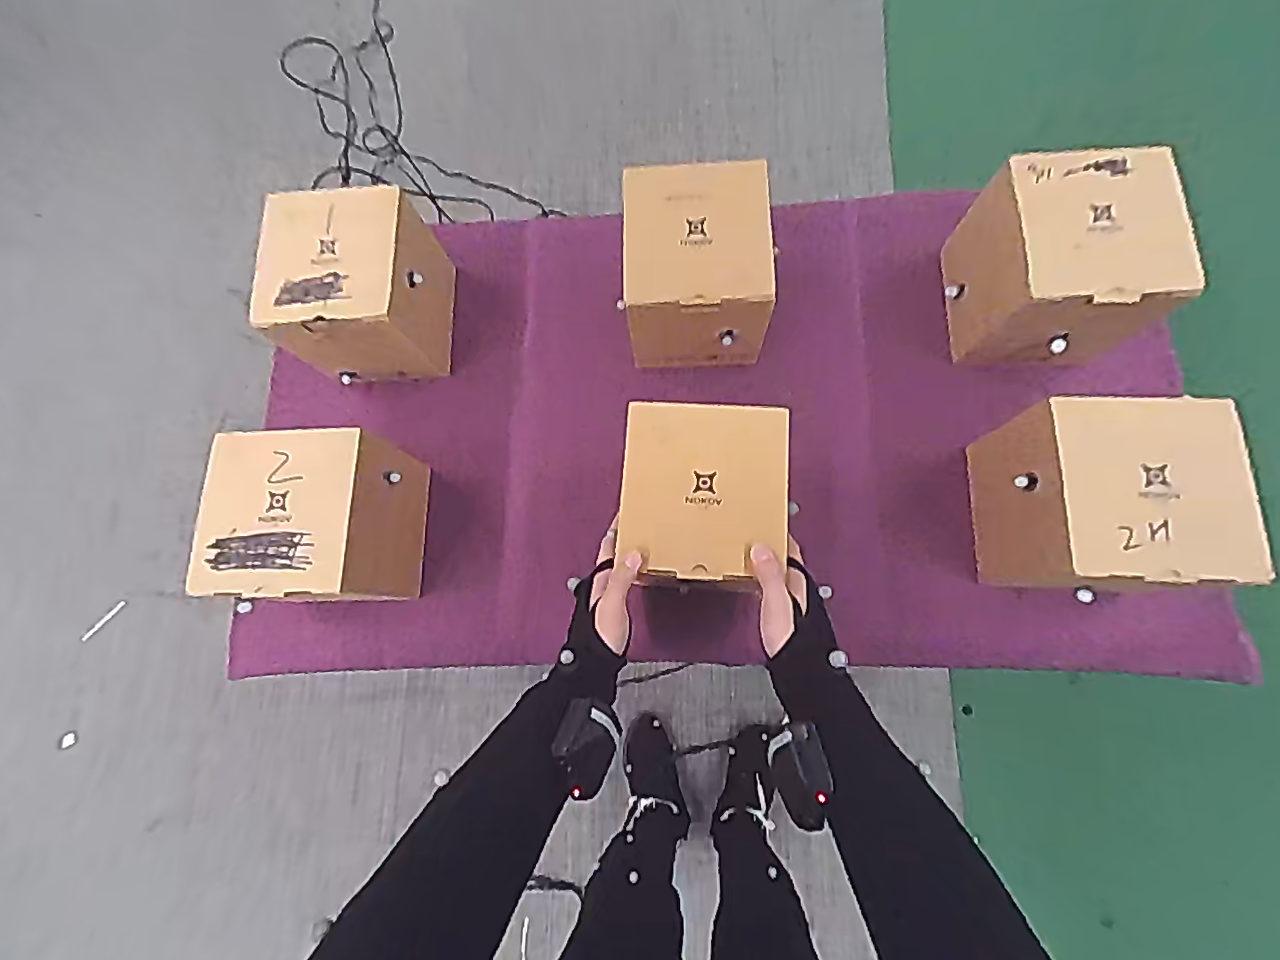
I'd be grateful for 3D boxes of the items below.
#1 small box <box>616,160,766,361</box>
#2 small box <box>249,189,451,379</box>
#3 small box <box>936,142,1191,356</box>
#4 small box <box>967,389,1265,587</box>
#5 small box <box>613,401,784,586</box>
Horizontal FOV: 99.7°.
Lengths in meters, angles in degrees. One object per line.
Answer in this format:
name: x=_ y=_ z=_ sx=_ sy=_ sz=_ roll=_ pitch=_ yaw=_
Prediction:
small box: x=0.062 y=-0.258 z=0.677 sx=0.168 sy=0.176 sz=0.179 roll=-2 pitch=77 yaw=4
small box: x=-0.361 y=-0.240 z=0.706 sx=0.168 sy=0.176 sz=0.179 roll=-3 pitch=77 yaw=4
small box: x=0.477 y=-0.256 z=0.640 sx=0.168 sy=0.176 sz=0.179 roll=-1 pitch=78 yaw=5
small box: x=0.474 y=0.017 z=0.575 sx=0.168 sy=0.176 sz=0.179 roll=1 pitch=77 yaw=7
small box: x=0.064 y=0.024 z=0.614 sx=0.168 sy=0.176 sz=0.179 roll=2 pitch=78 yaw=5
